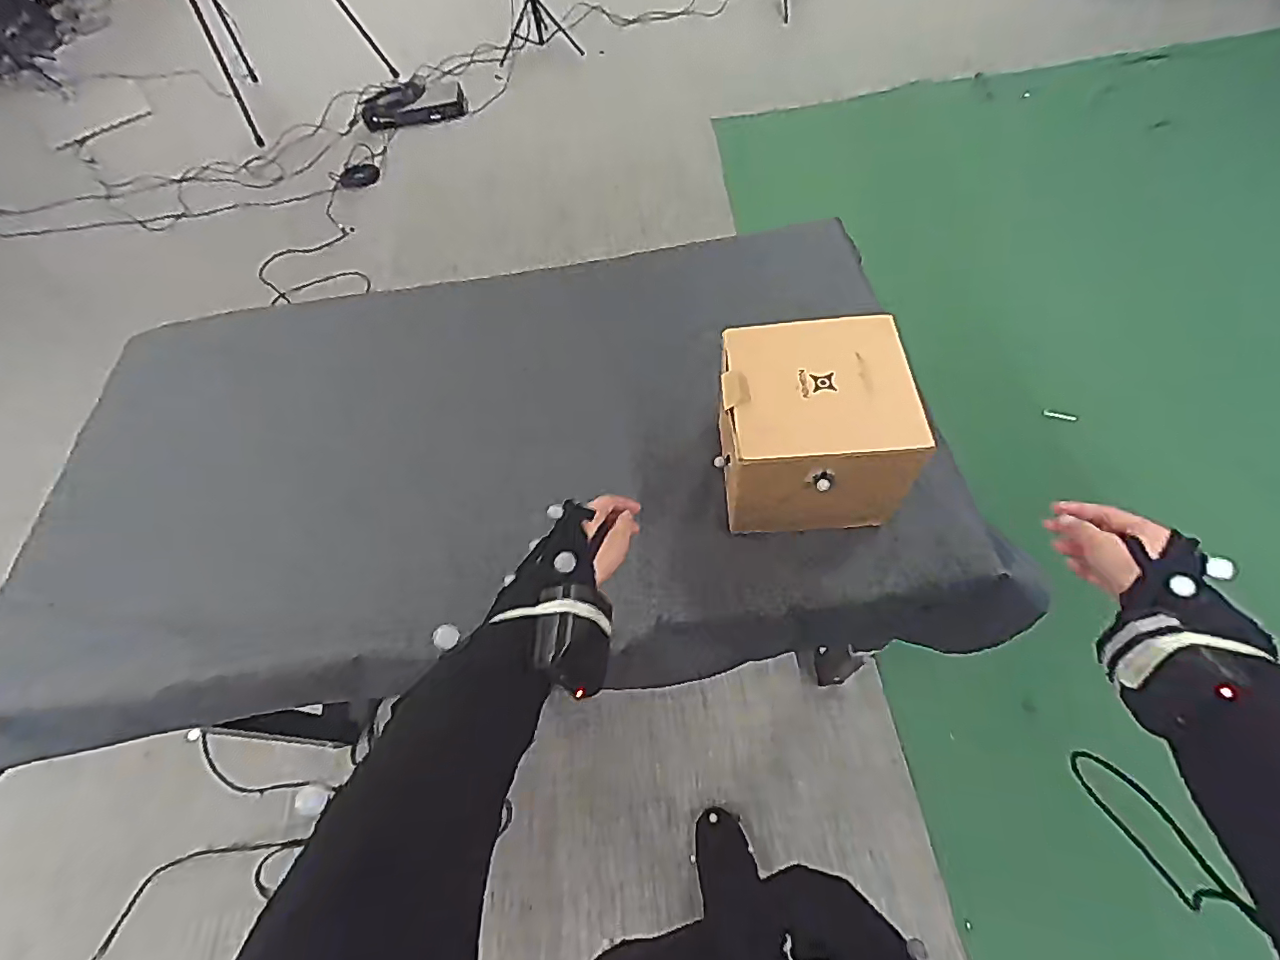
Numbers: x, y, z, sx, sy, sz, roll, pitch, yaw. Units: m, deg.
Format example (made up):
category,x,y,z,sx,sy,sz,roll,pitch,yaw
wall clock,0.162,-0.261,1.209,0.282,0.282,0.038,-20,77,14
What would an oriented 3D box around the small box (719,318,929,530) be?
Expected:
category,x,y,z,sx,sy,sz,roll,pitch,yaw
small box,0.179,-0.052,0.593,0.179,0.176,0.168,-3,61,5
